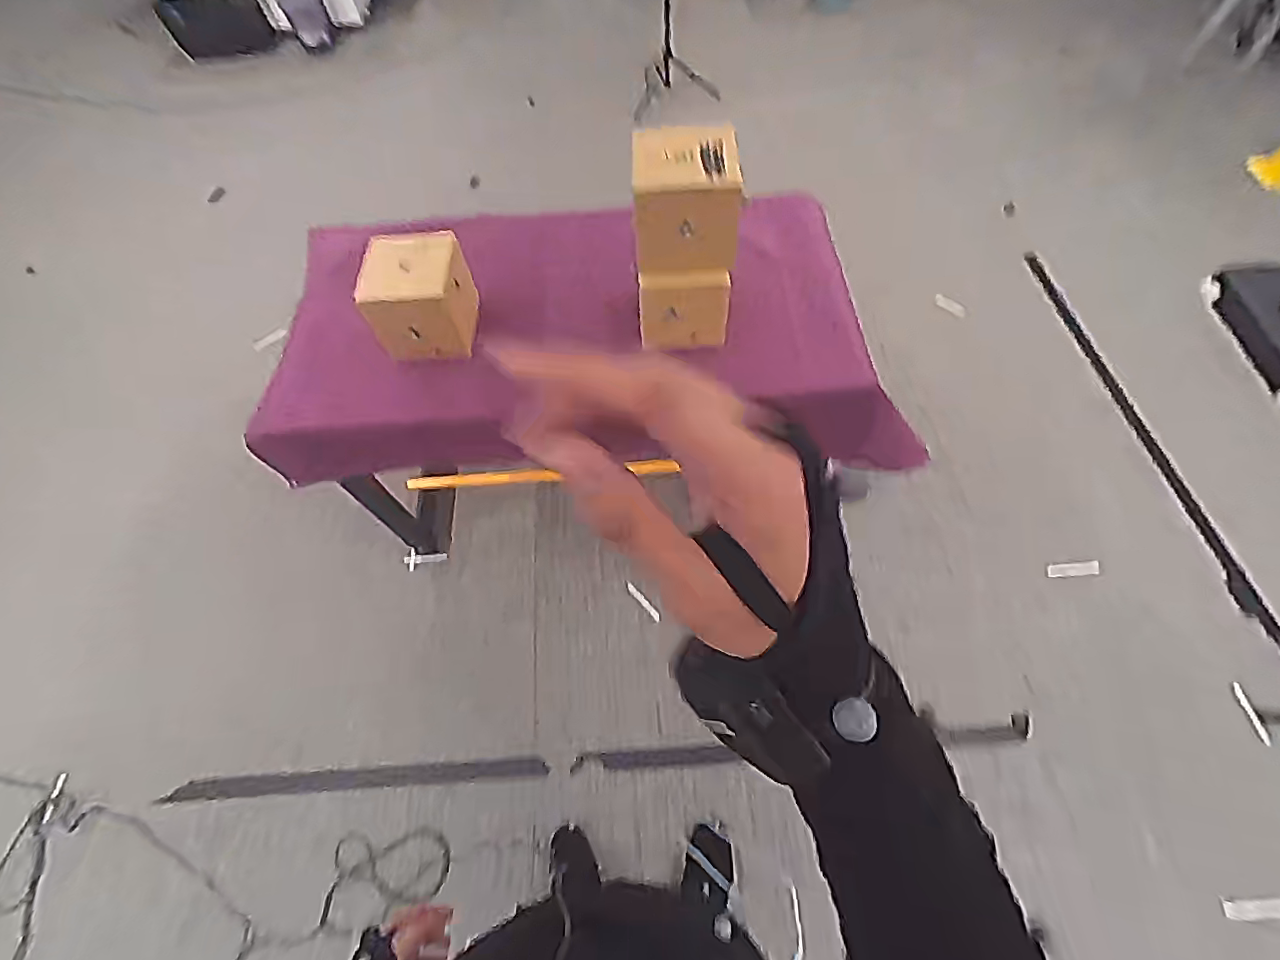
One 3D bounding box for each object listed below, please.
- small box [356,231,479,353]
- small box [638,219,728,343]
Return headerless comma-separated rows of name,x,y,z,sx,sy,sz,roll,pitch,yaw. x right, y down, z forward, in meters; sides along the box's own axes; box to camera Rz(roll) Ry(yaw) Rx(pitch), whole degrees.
small box,-0.437,-0.371,1.094,0.168,0.176,0.179,-2,61,1
small box,0.083,-0.388,1.081,0.168,0.176,0.179,-3,61,2
